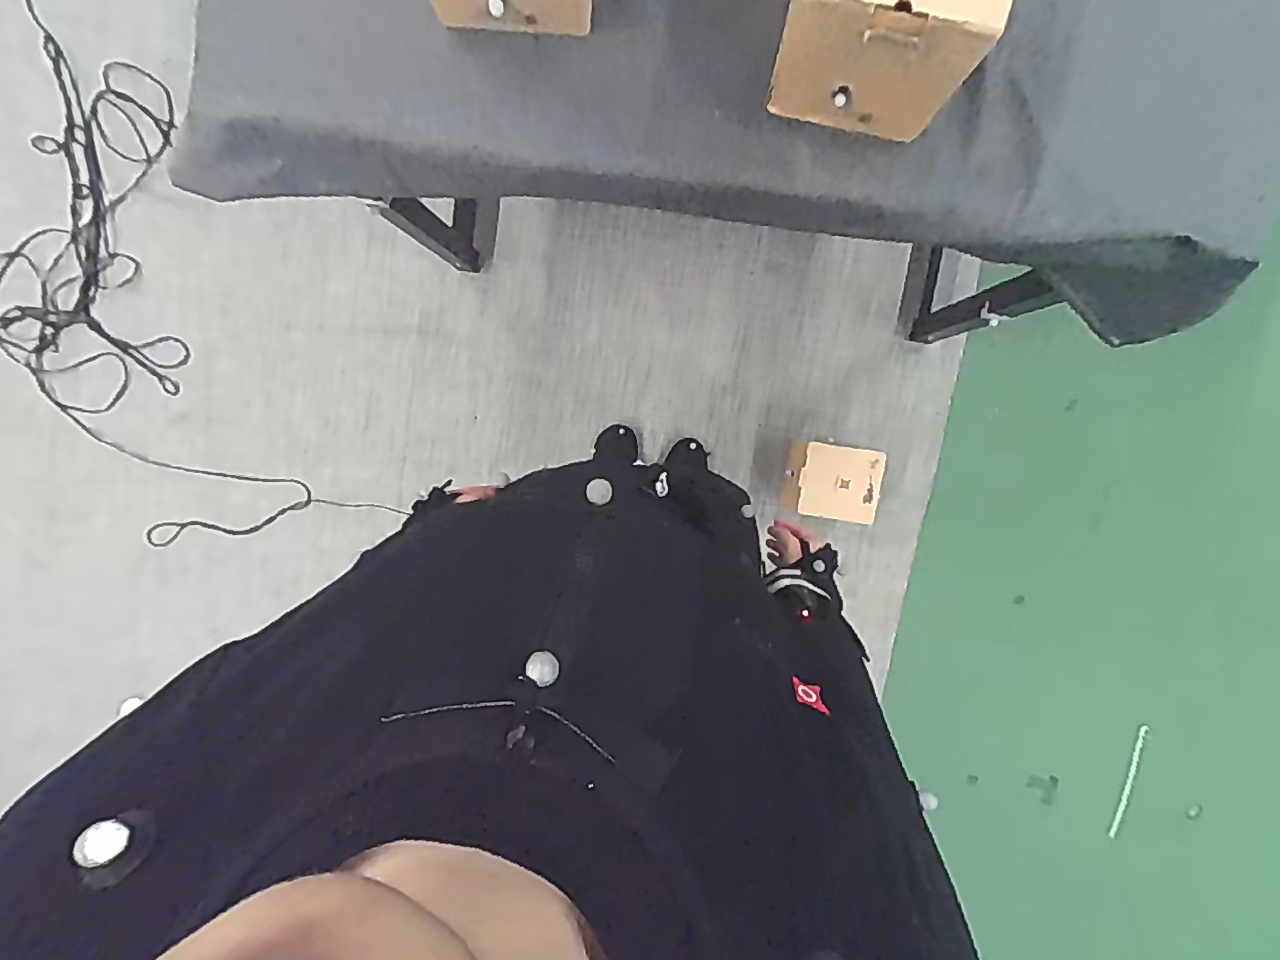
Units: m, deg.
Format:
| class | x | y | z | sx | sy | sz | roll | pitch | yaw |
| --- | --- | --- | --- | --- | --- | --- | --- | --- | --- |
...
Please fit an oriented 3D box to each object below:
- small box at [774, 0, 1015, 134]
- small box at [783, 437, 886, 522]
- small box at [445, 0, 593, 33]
| class | x | y | z | sx | sy | sz | roll | pitch | yaw |
| --- | --- | --- | --- | --- | --- | --- | --- | --- | --- |
| small box | 0.235 | -0.468 | 0.501 | 0.168 | 0.176 | 0.179 | 13 | 96 | 1 |
| small box | 0.446 | -0.006 | 1.272 | 0.179 | 0.176 | 0.168 | 9 | 95 | 2 |
| small box | -0.129 | -0.576 | 0.506 | 0.168 | 0.176 | 0.179 | 6 | 97 | 2 |
